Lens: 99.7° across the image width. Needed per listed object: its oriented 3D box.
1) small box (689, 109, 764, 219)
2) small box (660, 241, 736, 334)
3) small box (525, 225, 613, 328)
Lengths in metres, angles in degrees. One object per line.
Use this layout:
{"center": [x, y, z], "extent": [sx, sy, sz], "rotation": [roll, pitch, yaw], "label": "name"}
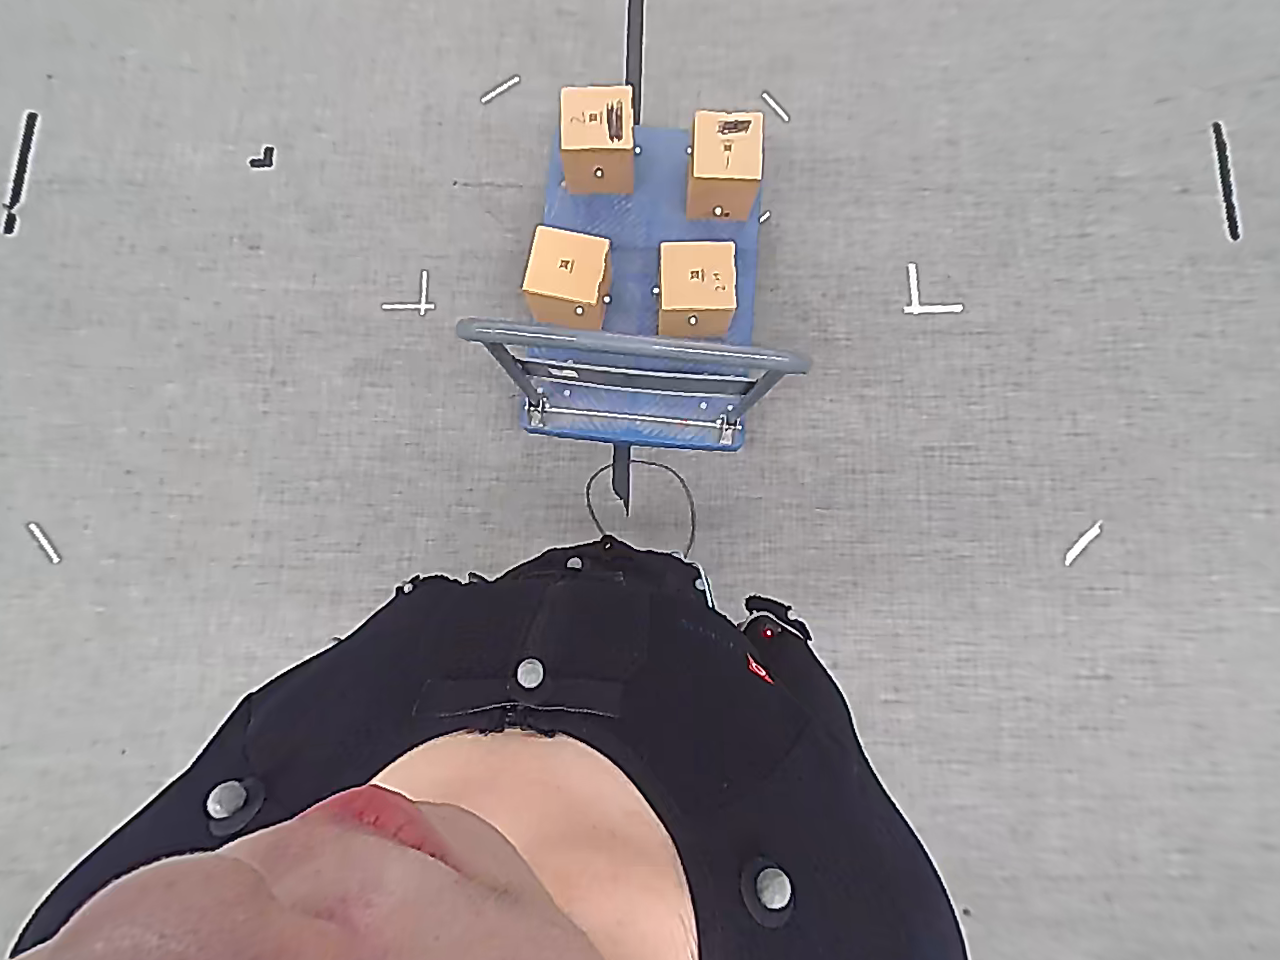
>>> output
{"center": [0.214, -0.798, 1.376], "extent": [0.168, 0.176, 0.179], "rotation": [2, 84, 0], "label": "small box"}
{"center": [0.137, -0.471, 1.338], "extent": [0.179, 0.176, 0.168], "rotation": [0, 84, 0], "label": "small box"}
{"center": [-0.168, -0.497, 1.340], "extent": [0.179, 0.176, 0.168], "rotation": [11, 83, 0], "label": "small box"}
